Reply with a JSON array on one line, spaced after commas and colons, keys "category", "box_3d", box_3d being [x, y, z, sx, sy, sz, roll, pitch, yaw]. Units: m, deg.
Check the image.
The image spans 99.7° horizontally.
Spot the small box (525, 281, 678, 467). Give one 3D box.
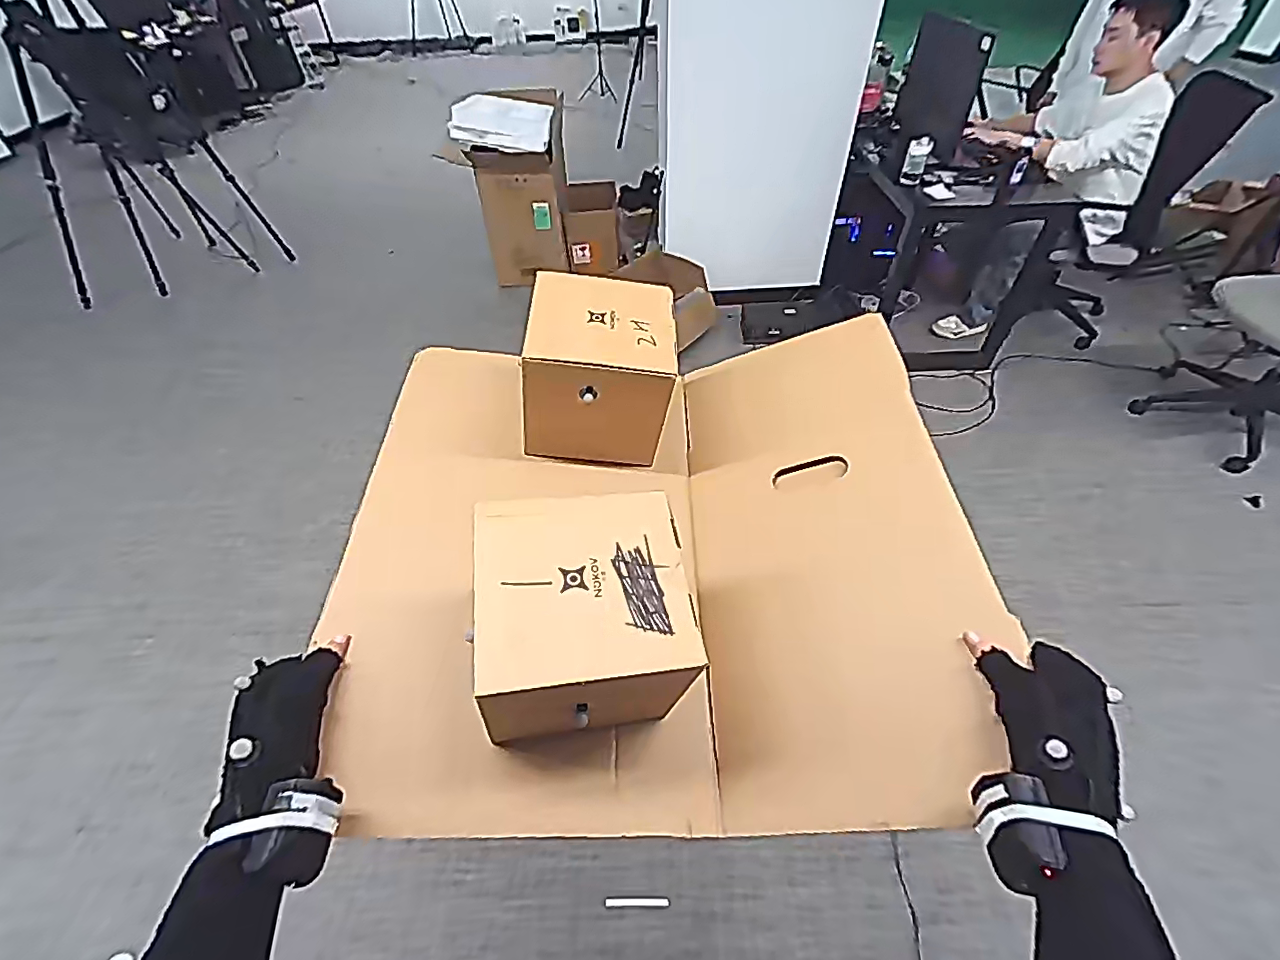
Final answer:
[{"category": "small box", "box_3d": [-0.052, -0.133, 0.714, 0.179, 0.176, 0.168, 6, 53, -7]}]

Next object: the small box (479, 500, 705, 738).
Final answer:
[{"category": "small box", "box_3d": [-0.057, 0.134, 0.516, 0.179, 0.176, 0.168, -3, 55, -12]}]
